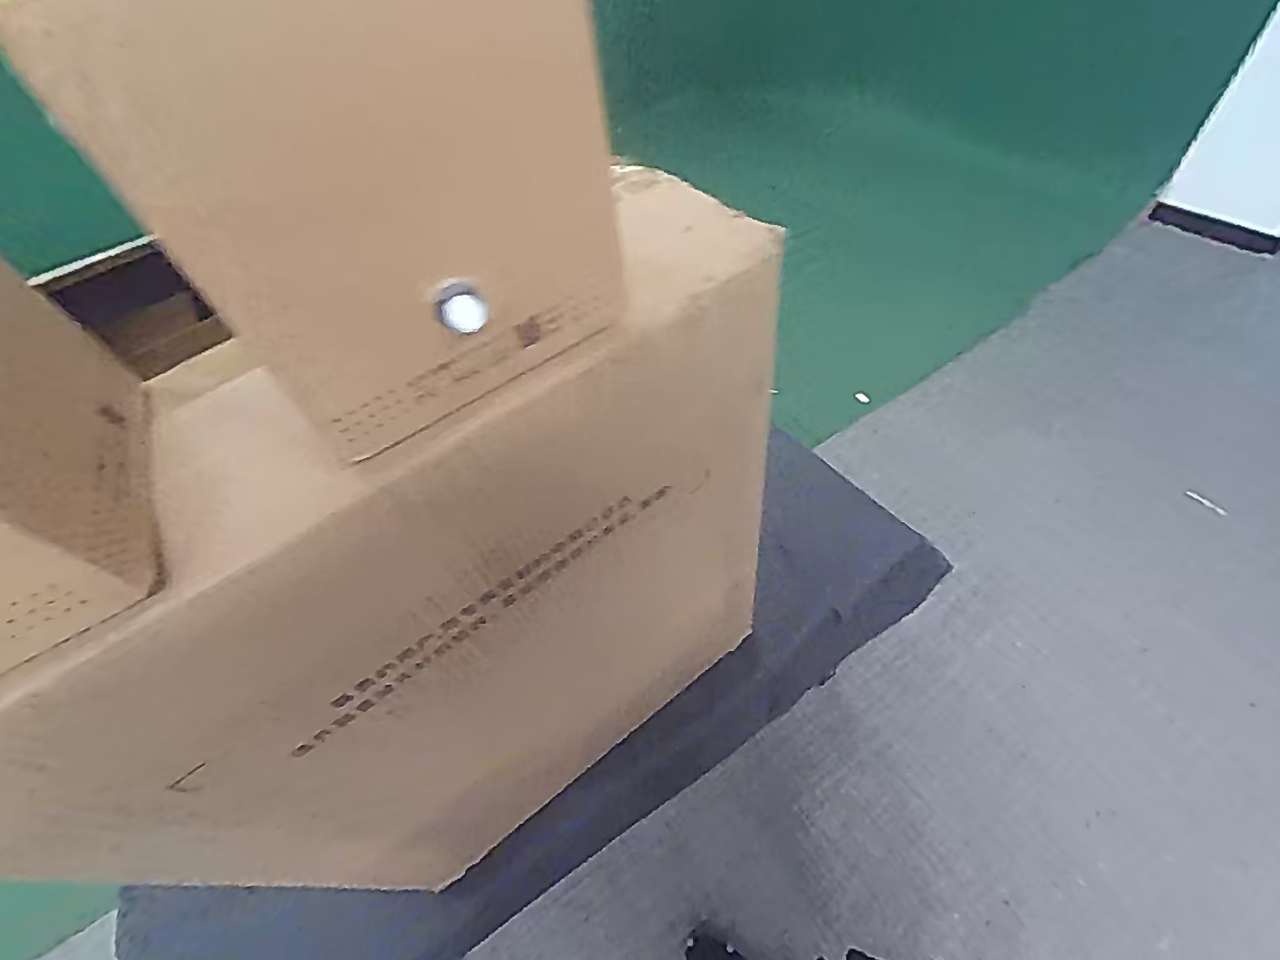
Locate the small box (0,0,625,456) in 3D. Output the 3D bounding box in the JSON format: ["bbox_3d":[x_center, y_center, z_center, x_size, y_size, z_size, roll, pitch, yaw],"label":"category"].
[{"bbox_3d":[-0.126,-0.144,0.255,0.168,0.176,0.179,-34,57,-17],"label":"small box"}]

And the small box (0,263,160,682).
[{"bbox_3d":[-0.319,-0.006,0.181,0.179,0.176,0.168,-31,55,-13],"label":"small box"}]
